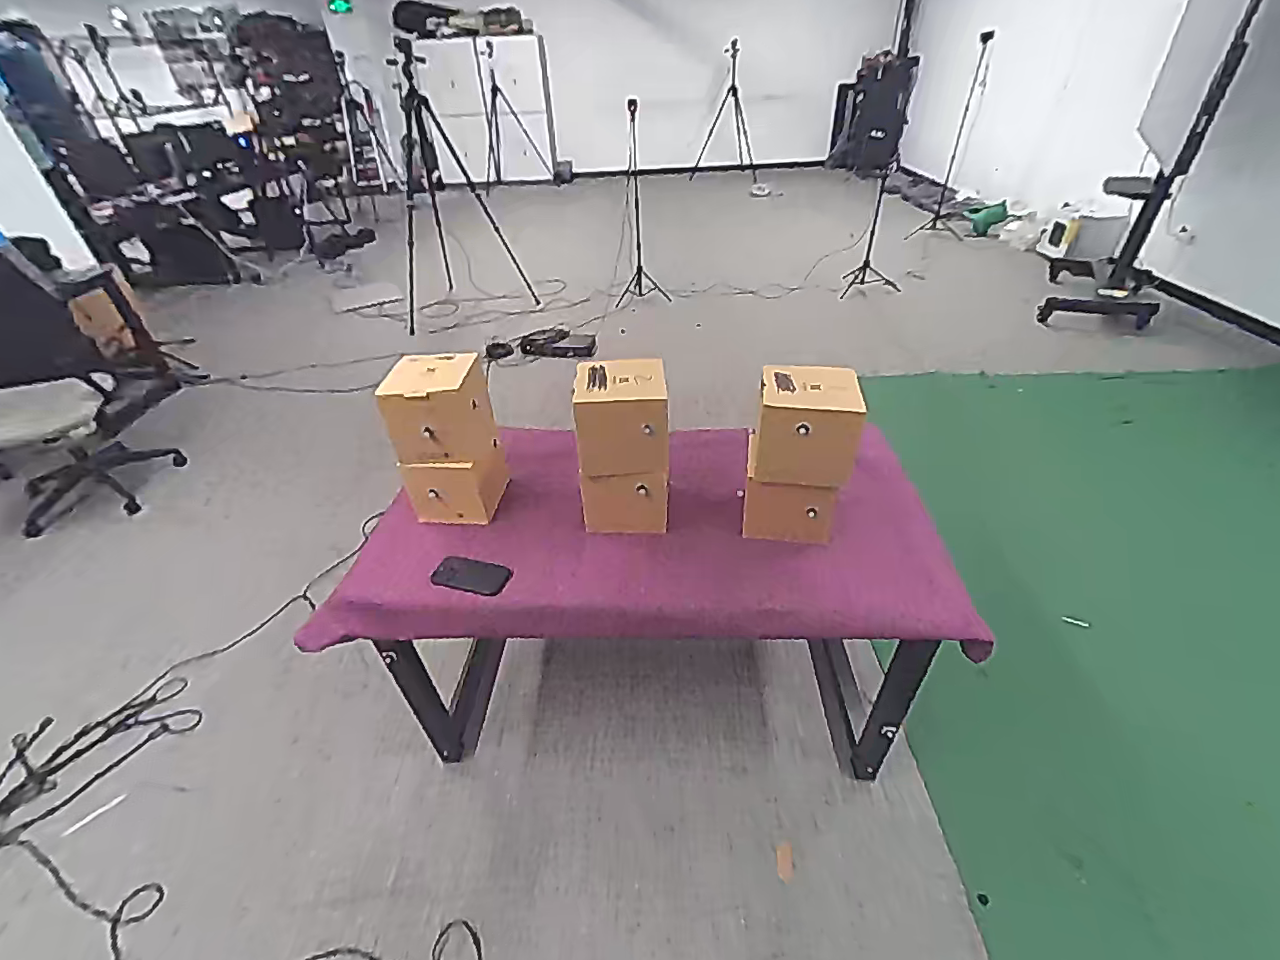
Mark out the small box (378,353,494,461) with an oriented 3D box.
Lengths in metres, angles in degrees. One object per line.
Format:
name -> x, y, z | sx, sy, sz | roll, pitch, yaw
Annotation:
small box -> -0.417, -0.151, 1.143 | 0.168, 0.176, 0.179 | -1, 38, 1

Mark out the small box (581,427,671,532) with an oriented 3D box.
small box -> -0.023, 0.001, 1.184 | 0.179, 0.176, 0.168 | 1, 38, 5

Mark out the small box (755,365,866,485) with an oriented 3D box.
small box -> 0.315, -0.105, 1.031 | 0.179, 0.176, 0.168 | 5, 38, 9

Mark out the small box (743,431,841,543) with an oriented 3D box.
small box -> 0.315, 0.015, 1.143 | 0.179, 0.176, 0.168 | 4, 38, 11

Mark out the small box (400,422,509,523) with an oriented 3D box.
small box -> -0.410, -0.016, 1.237 | 0.168, 0.176, 0.179 | 1, 38, 6
